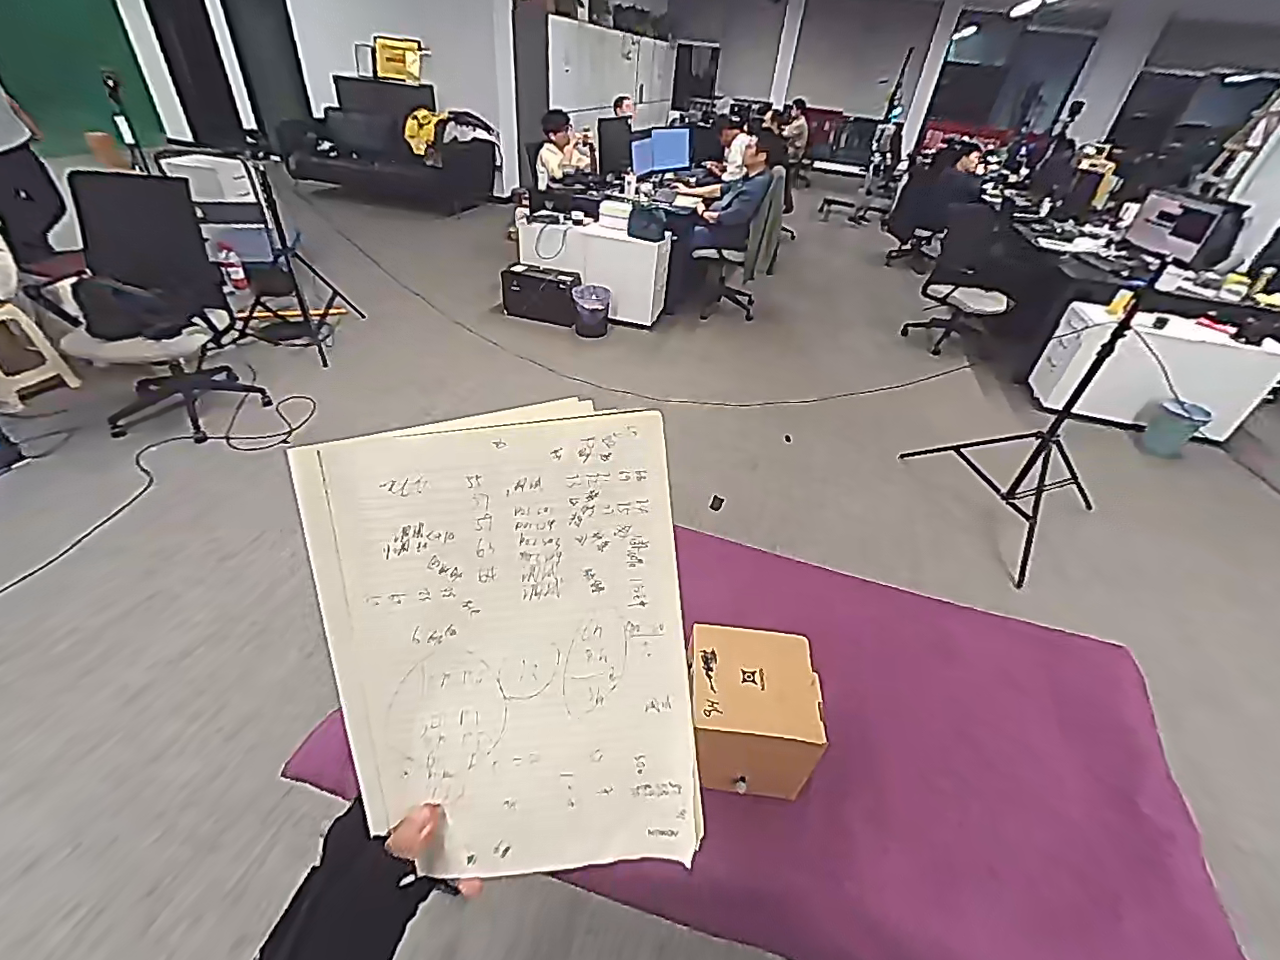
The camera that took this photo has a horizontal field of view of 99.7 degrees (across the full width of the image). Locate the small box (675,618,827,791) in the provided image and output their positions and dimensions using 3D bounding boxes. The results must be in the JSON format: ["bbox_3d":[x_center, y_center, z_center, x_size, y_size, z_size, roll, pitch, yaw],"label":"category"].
[{"bbox_3d":[0.153,0.332,0.799,0.179,0.176,0.168,7,37,1],"label":"small box"}]
